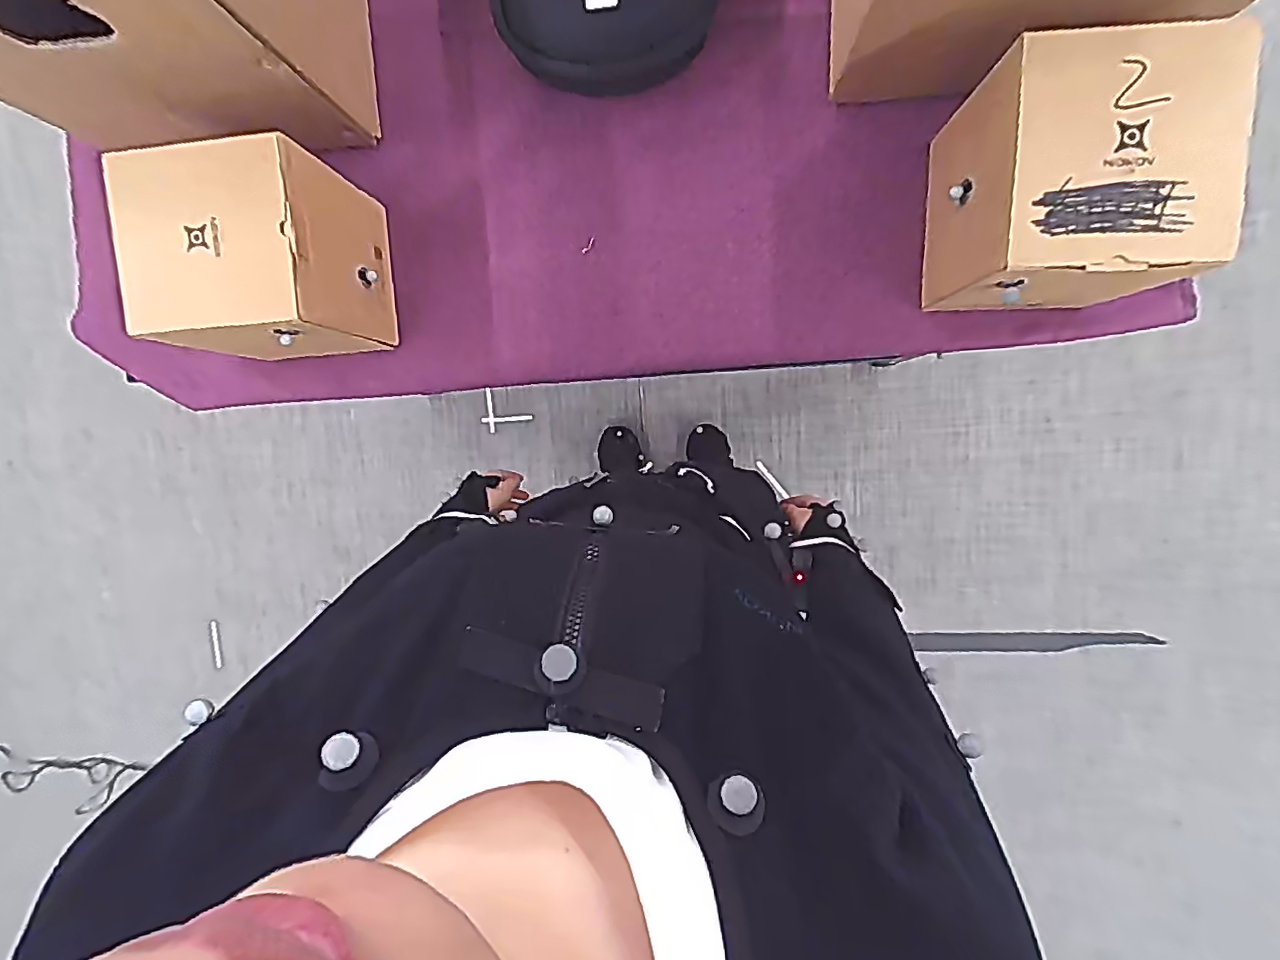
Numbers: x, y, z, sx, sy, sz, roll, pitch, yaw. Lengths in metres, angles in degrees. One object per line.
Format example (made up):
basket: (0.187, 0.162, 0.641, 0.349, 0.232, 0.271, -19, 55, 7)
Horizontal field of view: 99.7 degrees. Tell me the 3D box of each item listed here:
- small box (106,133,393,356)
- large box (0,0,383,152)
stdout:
small box: (-0.396, -0.231, 0.577, 0.179, 0.176, 0.168, -4, 95, 5)
large box: (-0.470, -0.564, 0.473, 0.320, 0.320, 0.408, -3, 99, 4)
